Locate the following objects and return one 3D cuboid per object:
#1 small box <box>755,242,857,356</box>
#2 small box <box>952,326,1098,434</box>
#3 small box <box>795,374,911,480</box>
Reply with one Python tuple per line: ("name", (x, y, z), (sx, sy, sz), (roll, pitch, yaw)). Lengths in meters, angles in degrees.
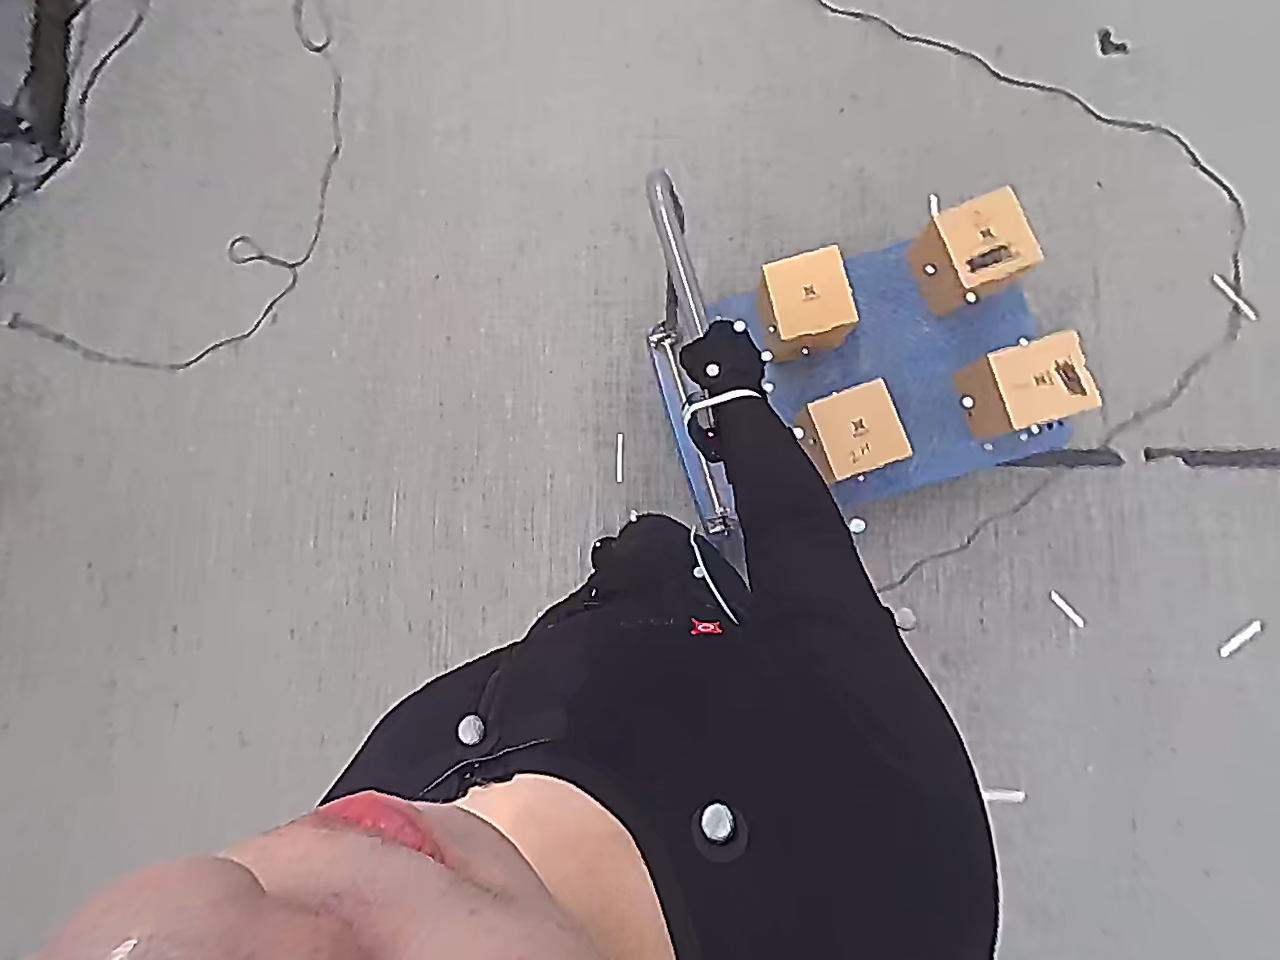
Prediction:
("small box", (0.368, -0.405, 1.234), (0.168, 0.176, 0.179), (-14, 87, 5))
("small box", (0.821, -0.209, 1.172), (0.179, 0.176, 0.168), (-17, 85, 6))
("small box", (0.462, -0.110, 1.204), (0.168, 0.176, 0.179), (-20, 84, 4))
